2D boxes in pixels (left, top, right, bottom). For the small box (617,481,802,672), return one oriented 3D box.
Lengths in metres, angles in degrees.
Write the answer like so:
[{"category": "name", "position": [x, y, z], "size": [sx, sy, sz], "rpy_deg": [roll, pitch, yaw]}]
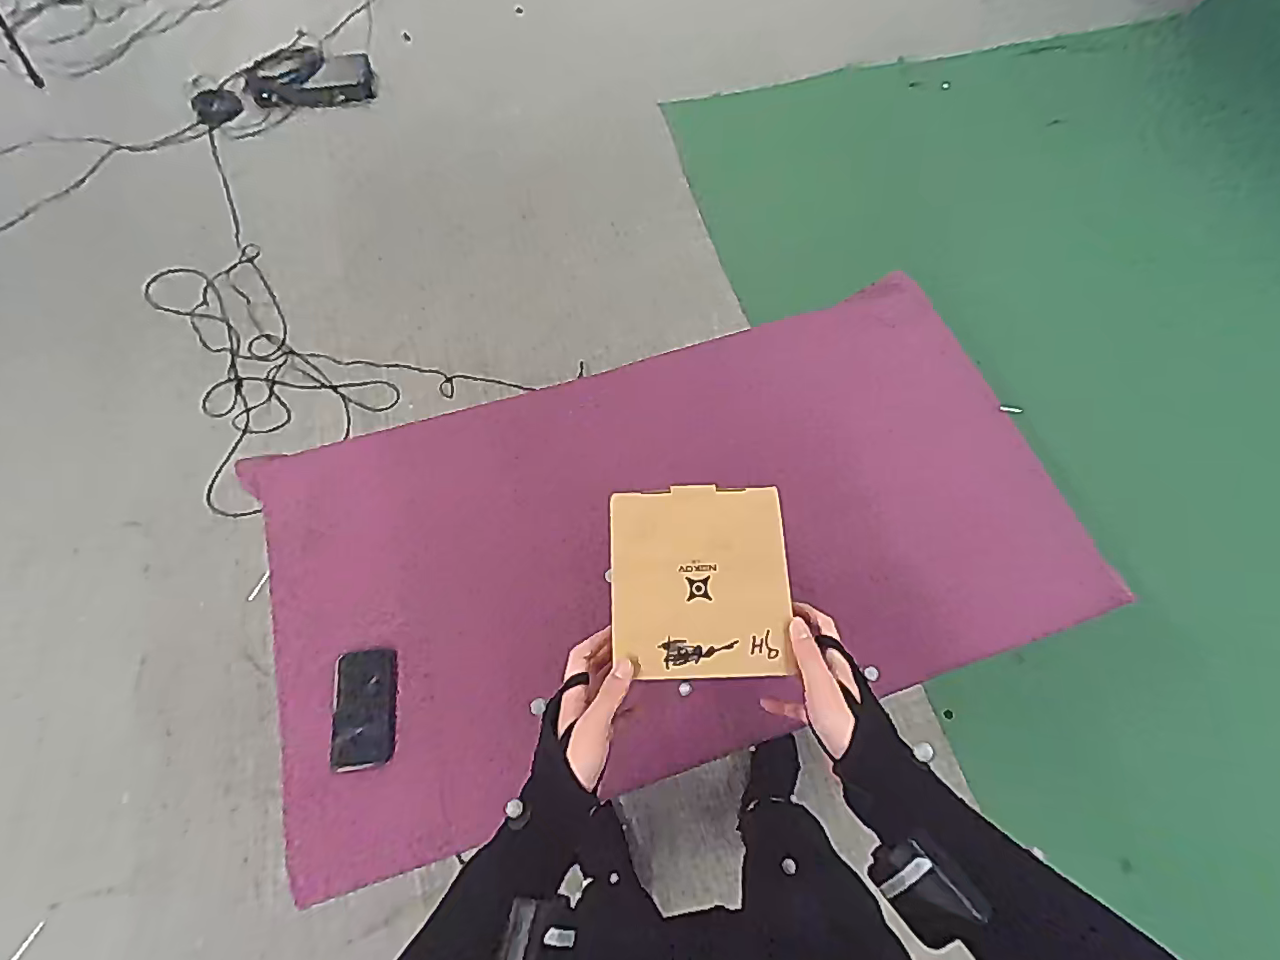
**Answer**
[{"category": "small box", "position": [0.063, 0.111, 0.577], "size": [0.168, 0.176, 0.179], "rpy_deg": [-2, 72, 3]}]
